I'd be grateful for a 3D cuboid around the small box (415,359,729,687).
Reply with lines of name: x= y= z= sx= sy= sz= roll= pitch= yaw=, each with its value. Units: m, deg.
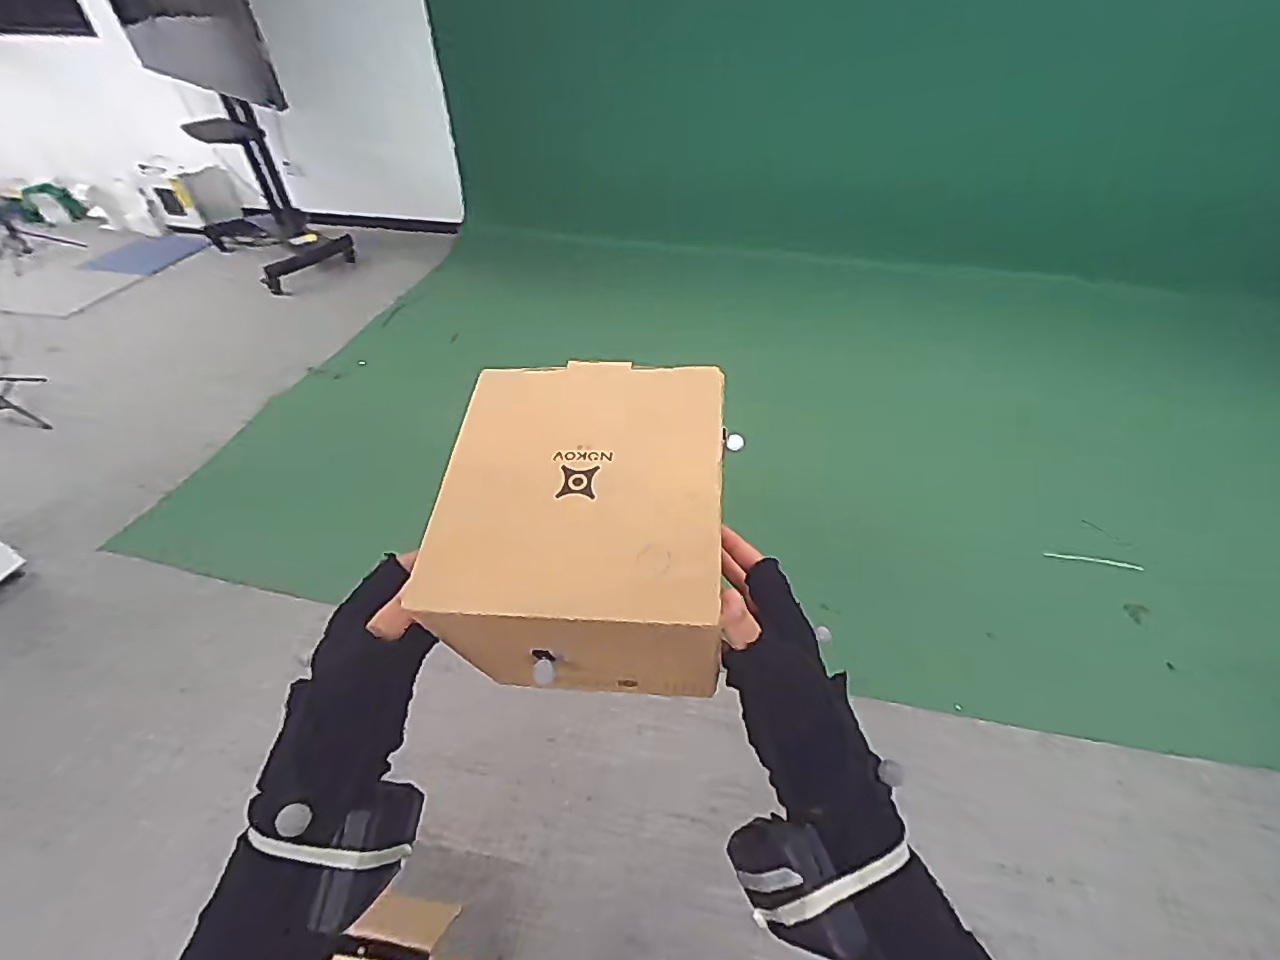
small box: x=-0.022 y=0.037 z=0.382 sx=0.168 sy=0.176 sz=0.179 roll=1 pitch=56 yaw=7
